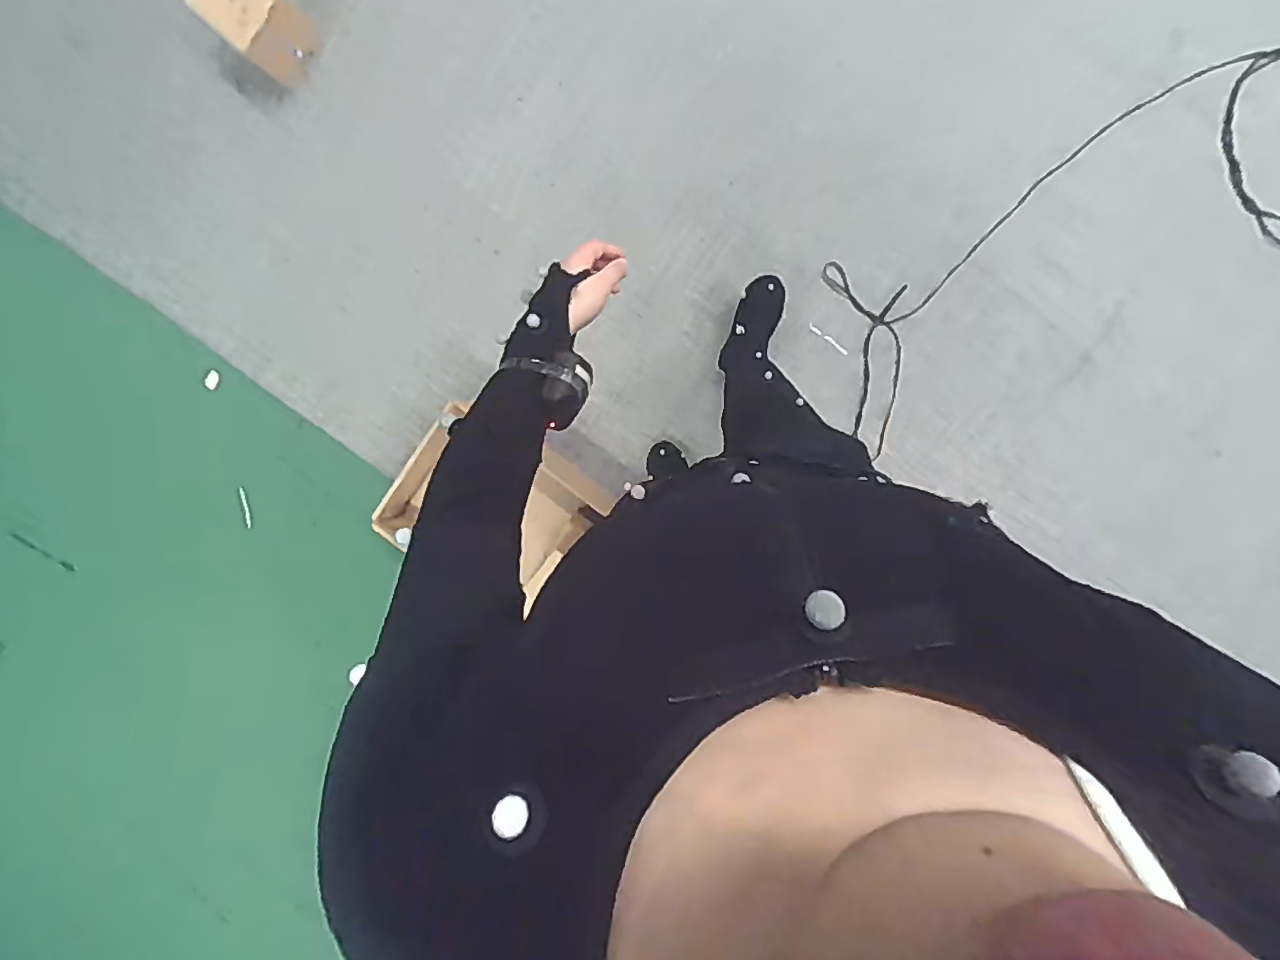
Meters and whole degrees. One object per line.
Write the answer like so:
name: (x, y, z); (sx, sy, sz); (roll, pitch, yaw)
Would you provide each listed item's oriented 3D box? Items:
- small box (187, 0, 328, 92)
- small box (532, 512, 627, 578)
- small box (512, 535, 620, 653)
small box: (-0.901, -1.086, 1.289); (0.179, 0.176, 0.168); (41, 101, -3)
small box: (-0.147, 0.208, 1.392); (0.168, 0.176, 0.179); (34, 99, -2)
small box: (-0.158, 0.249, 1.233); (0.168, 0.176, 0.179); (39, 99, -3)
